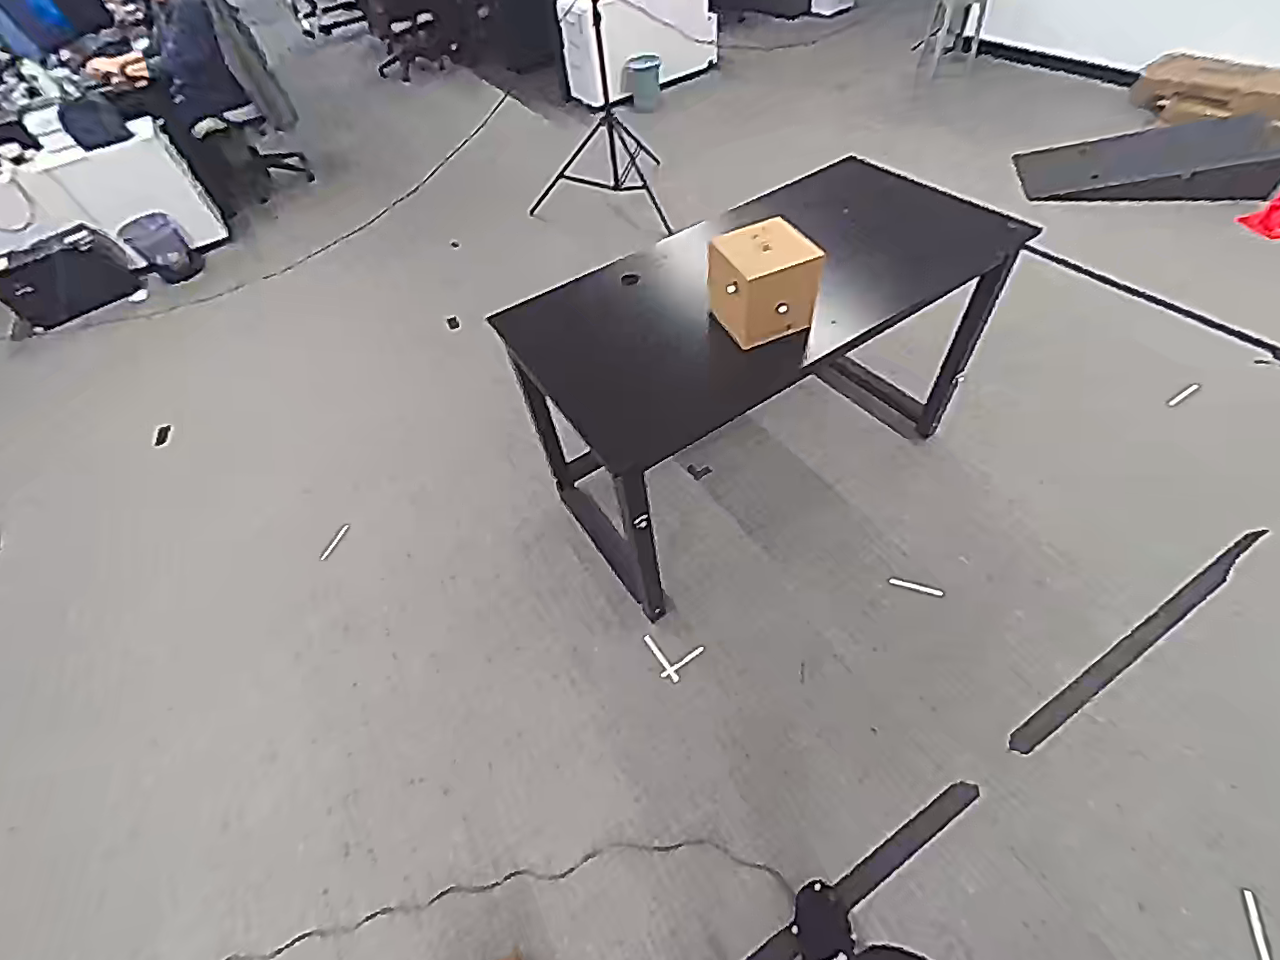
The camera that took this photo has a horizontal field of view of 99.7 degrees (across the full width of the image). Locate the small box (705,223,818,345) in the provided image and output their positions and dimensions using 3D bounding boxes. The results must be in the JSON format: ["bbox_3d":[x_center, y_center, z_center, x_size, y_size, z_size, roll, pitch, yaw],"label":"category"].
[{"bbox_3d":[0.250,-0.407,1.145,0.168,0.176,0.179,-21,52,-9],"label":"small box"}]

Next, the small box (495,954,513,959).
[{"bbox_3d":[-0.303,1.047,1.018,0.168,0.176,0.179,-29,55,-15],"label":"small box"}]
